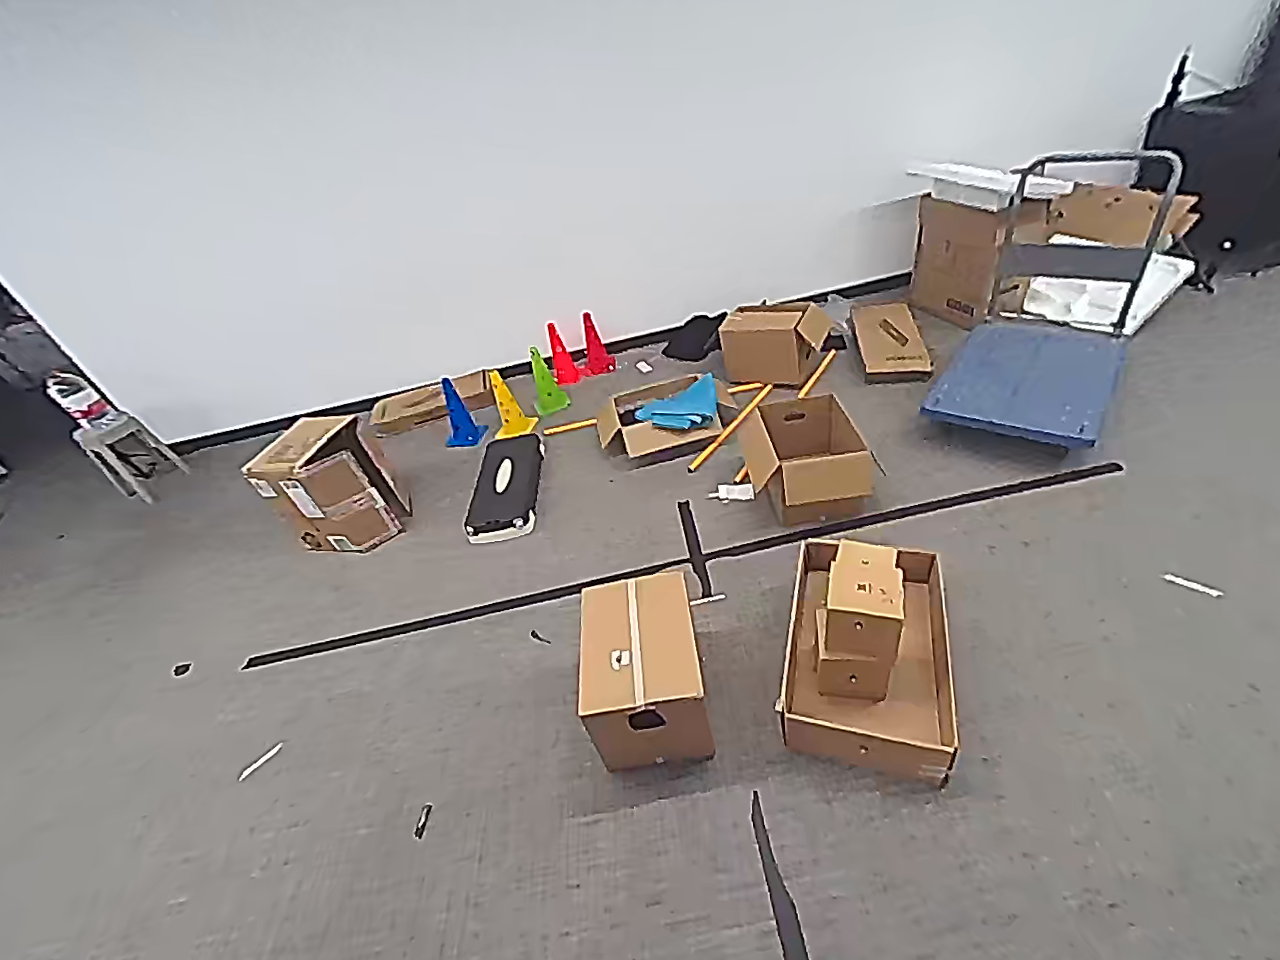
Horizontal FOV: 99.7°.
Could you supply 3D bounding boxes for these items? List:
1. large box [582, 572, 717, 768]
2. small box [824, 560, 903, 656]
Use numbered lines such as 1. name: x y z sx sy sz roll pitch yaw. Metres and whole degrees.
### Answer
1. large box: 0.022 0.535 1.542 0.320 0.320 0.408 -12 39 4
2. small box: 0.576 0.331 1.397 0.179 0.176 0.168 5 40 21
